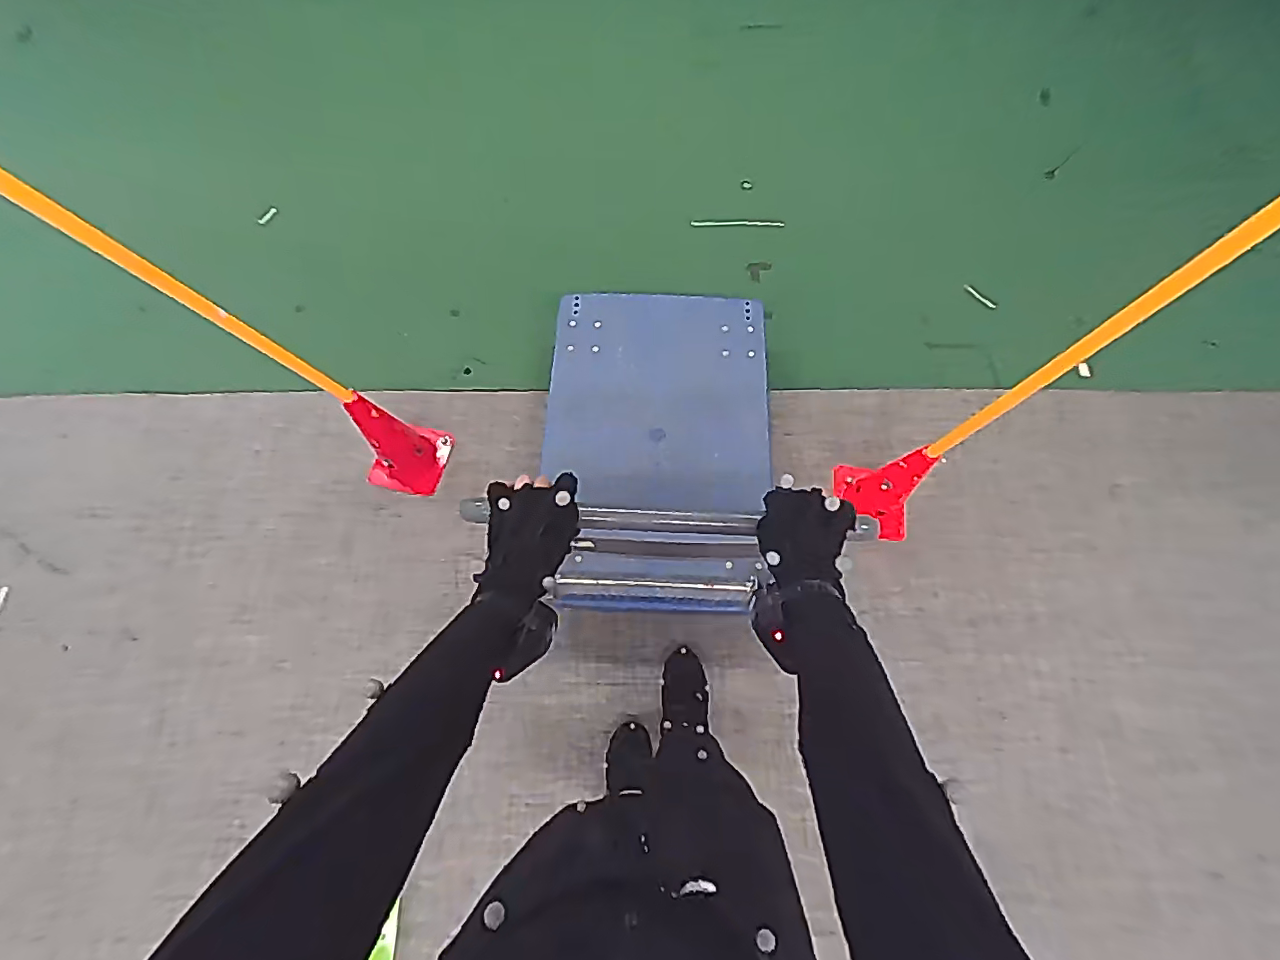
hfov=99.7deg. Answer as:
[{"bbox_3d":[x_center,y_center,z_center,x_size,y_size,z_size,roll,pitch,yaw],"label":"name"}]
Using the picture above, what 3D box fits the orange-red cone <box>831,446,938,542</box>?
[{"bbox_3d":[0.632,0.005,1.335,0.198,0.360,0.199,10,70,4],"label":"orange-red cone"}]
